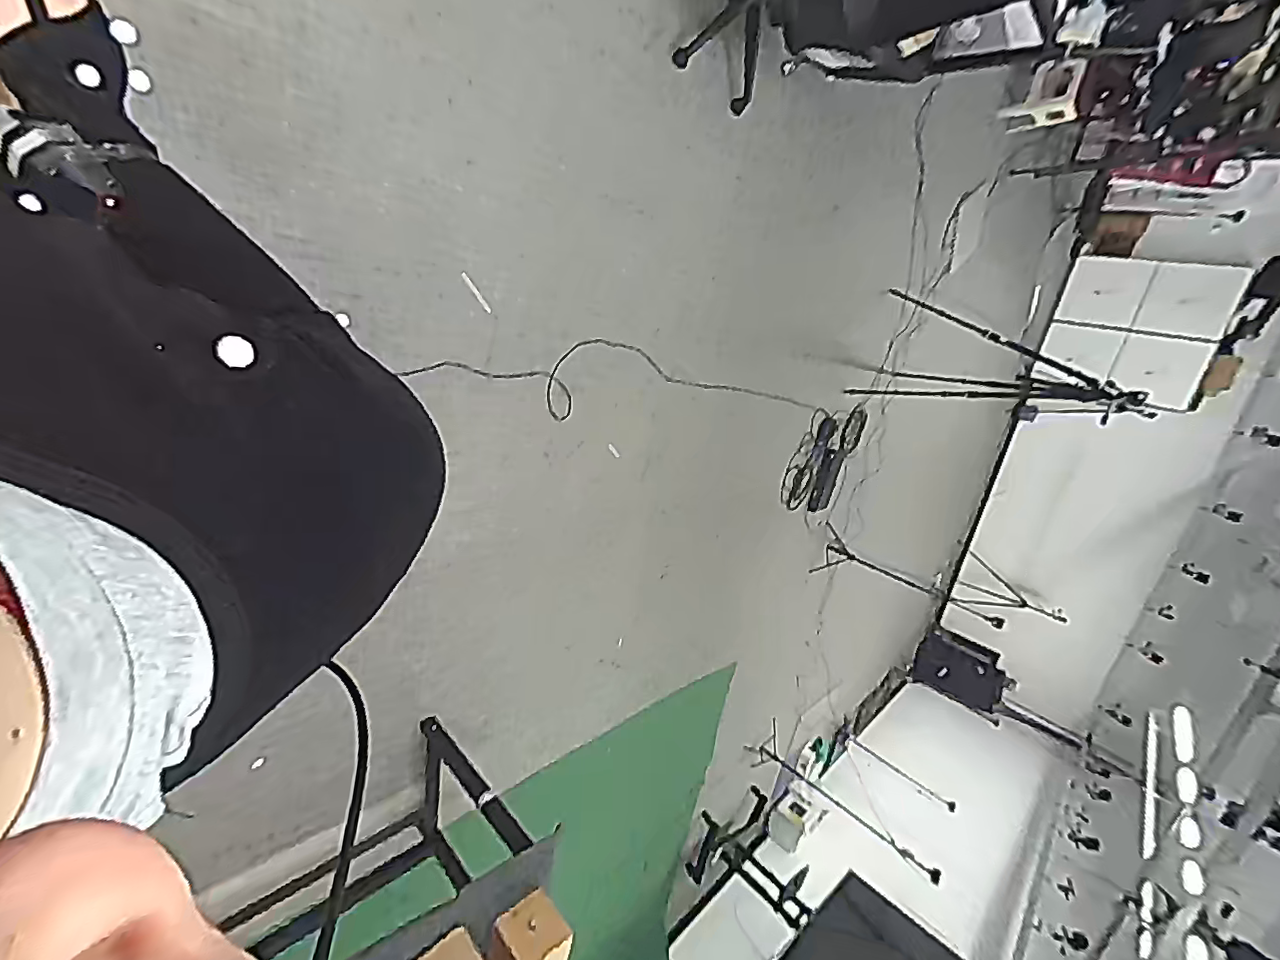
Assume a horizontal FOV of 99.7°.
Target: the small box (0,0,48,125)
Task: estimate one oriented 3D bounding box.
[{"bbox_3d":[-0.581,-0.425,0.409,0.168,0.176,0.179,-6,87,-44],"label":"small box"}]
